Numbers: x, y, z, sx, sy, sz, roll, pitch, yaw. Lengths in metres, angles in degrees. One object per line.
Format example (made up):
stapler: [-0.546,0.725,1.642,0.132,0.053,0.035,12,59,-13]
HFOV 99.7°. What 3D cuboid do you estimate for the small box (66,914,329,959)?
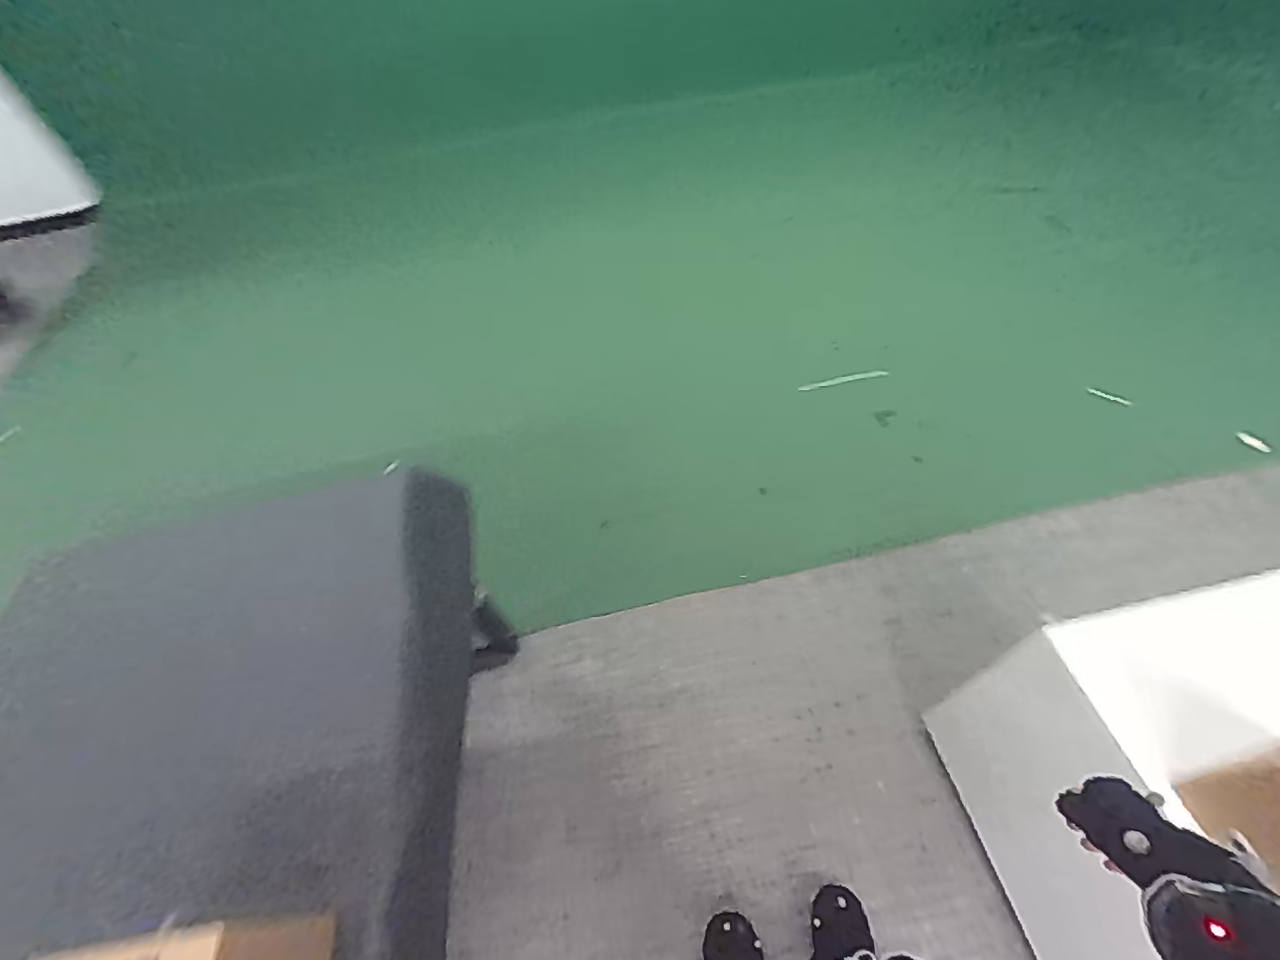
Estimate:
small box: [-0.390,0.487,0.444,0.168,0.176,0.179,-11,54,0]

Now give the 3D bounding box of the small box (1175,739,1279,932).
small box: [0.739,0.361,0.558,0.179,0.176,0.168,-17,53,-4]
